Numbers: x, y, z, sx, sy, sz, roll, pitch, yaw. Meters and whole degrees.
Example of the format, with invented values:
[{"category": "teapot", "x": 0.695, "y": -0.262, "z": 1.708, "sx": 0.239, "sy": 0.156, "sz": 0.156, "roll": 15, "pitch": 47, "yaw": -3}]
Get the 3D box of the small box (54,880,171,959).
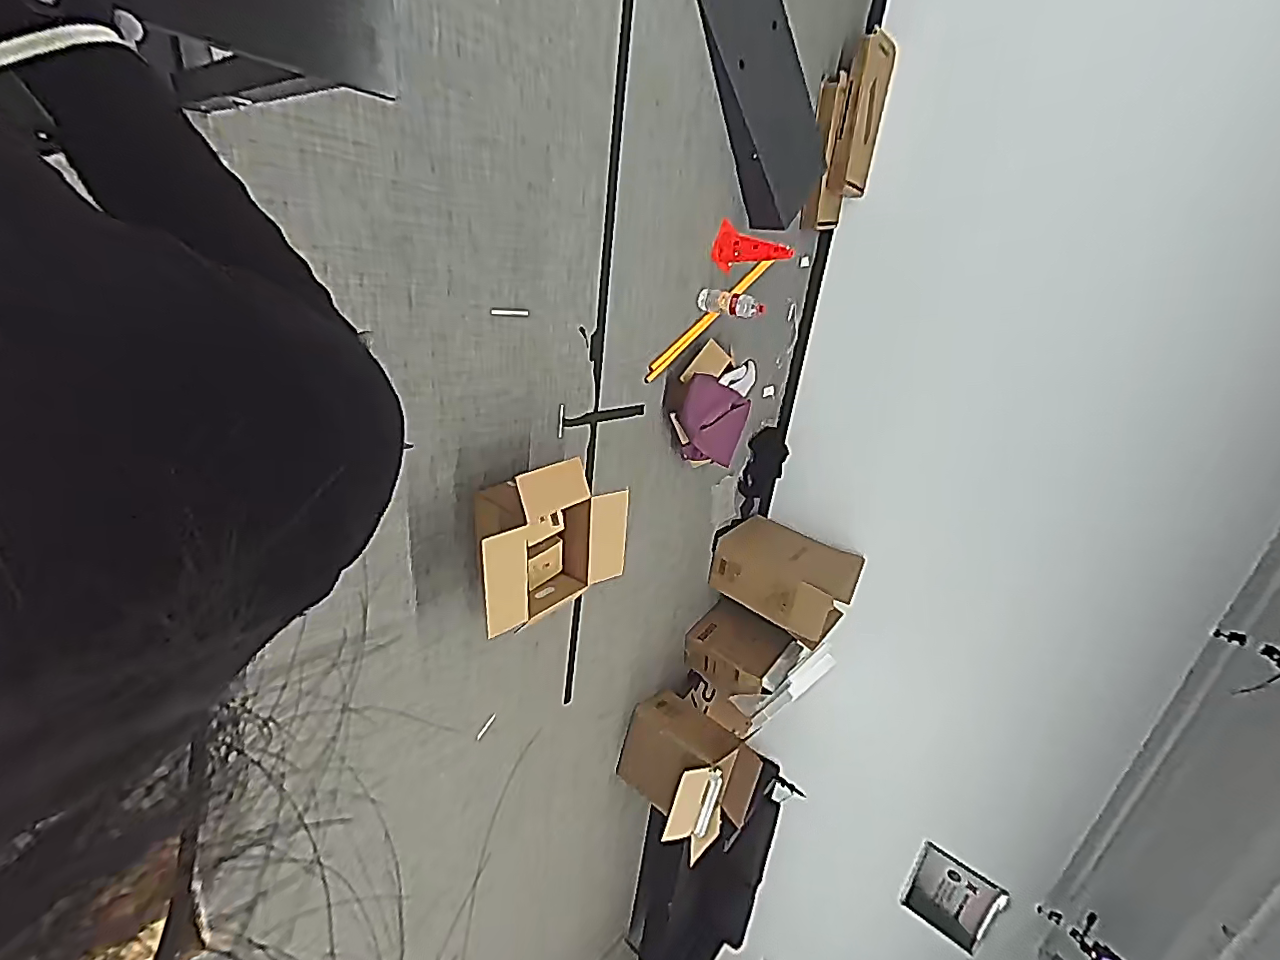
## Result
[{"category": "small box", "x": -1.322, "y": 1.171, "z": 1.358, "sx": 0.179, "sy": 0.176, "sz": 0.168, "roll": -16, "pitch": 119, "yaw": -47}]
